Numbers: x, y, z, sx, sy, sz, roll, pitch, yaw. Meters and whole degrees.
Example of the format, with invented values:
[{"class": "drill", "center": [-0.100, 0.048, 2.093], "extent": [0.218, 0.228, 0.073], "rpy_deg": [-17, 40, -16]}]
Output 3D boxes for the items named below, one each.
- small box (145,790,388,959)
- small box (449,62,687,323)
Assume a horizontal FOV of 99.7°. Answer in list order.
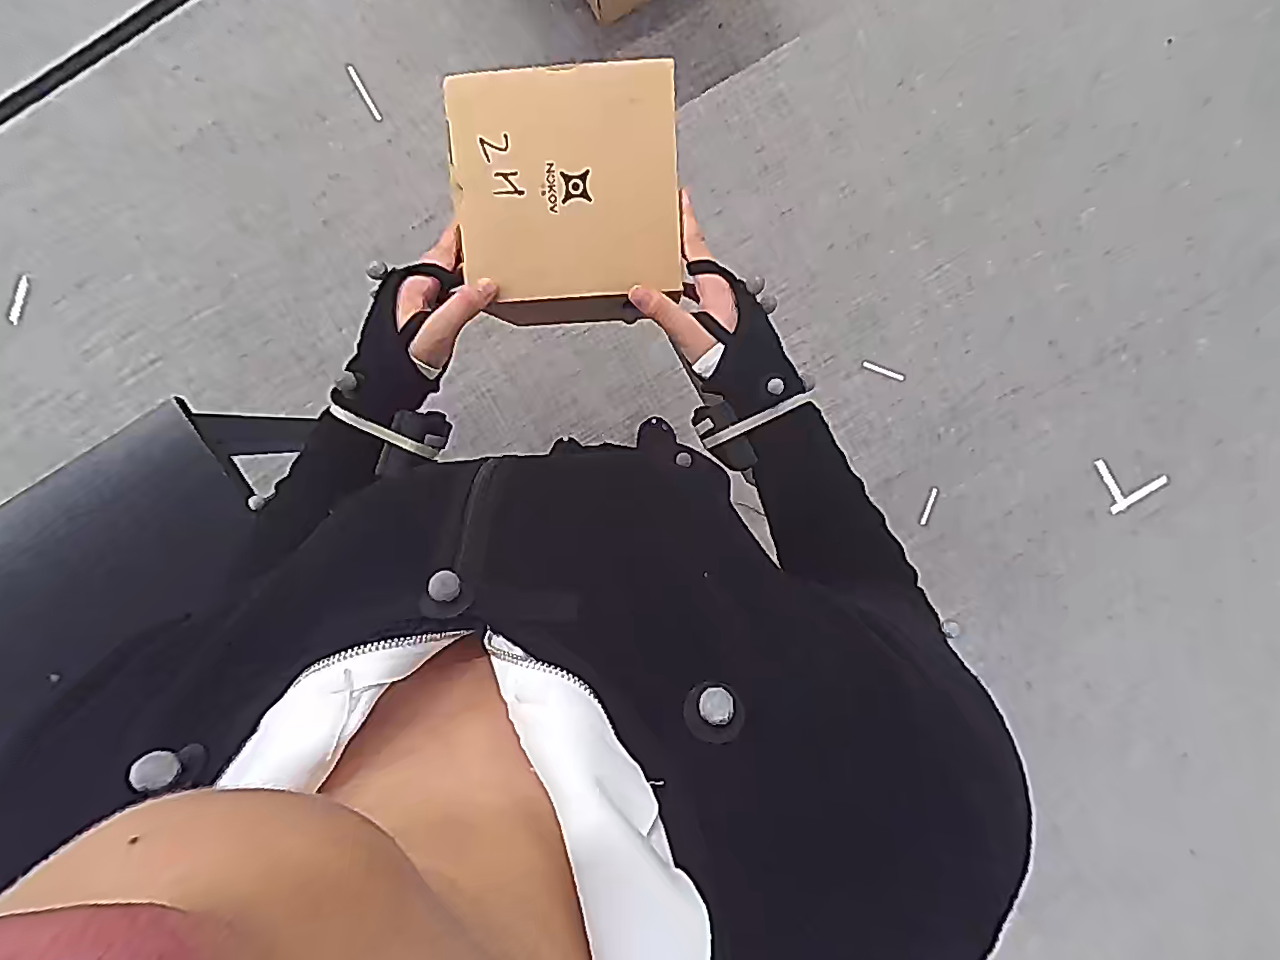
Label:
[{"class": "small box", "center": [-0.485, 0.561, 0.732], "extent": [0.168, 0.176, 0.179], "rpy_deg": [-30, 95, 3]}, {"class": "small box", "center": [-0.052, -0.240, 0.494], "extent": [0.179, 0.176, 0.168], "rpy_deg": [-3, 100, 3]}]
